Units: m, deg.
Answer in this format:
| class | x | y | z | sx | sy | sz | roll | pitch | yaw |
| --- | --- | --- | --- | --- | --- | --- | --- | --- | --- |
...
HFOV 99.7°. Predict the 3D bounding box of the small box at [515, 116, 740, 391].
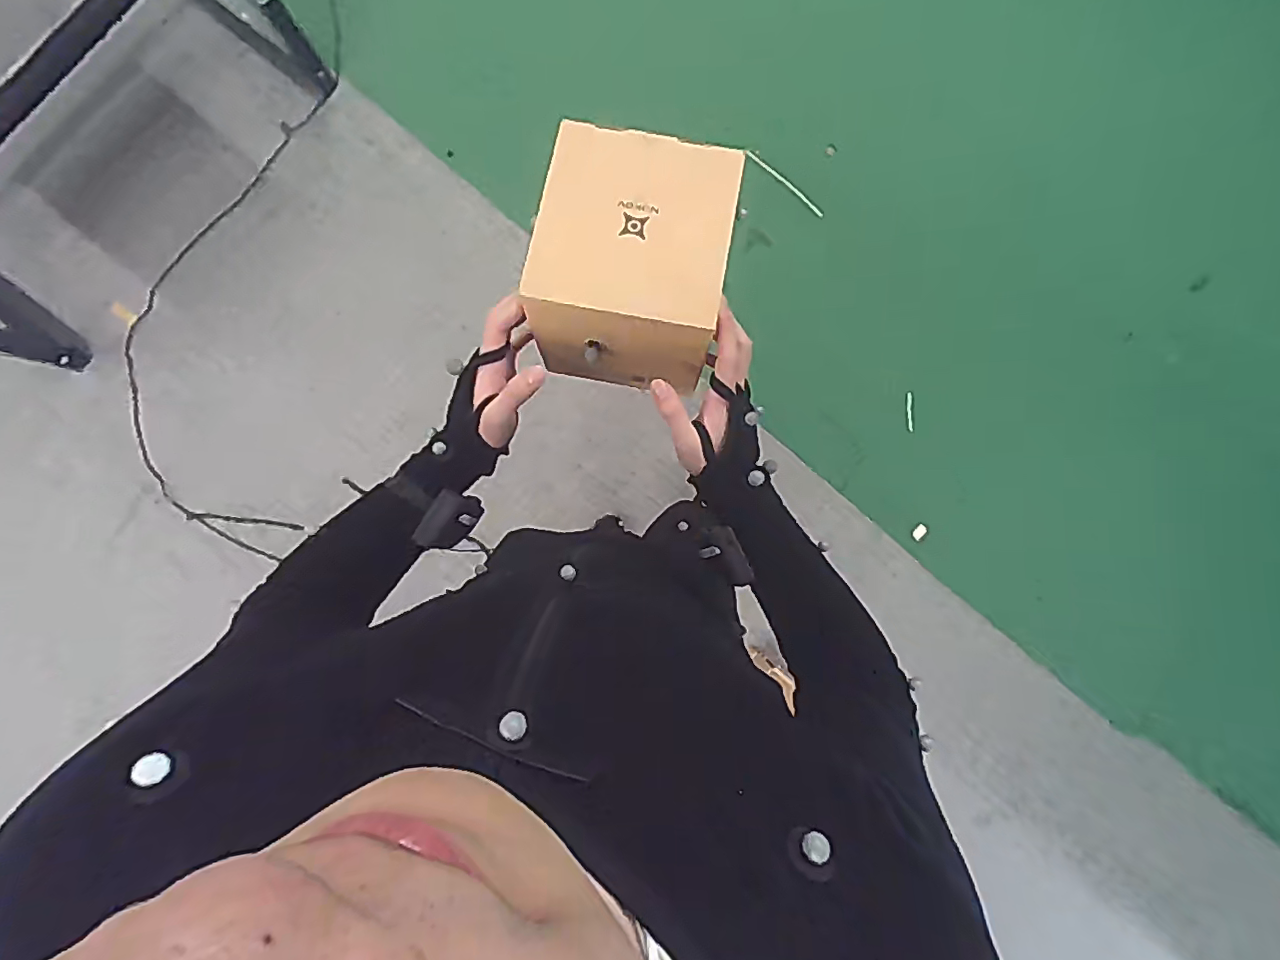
| class | x | y | z | sx | sy | sz | roll | pitch | yaw |
| --- | --- | --- | --- | --- | --- | --- | --- | --- | --- |
| small box | -0.008 | -0.203 | 0.528 | 0.168 | 0.176 | 0.179 | 10 | 78 | 1 |
